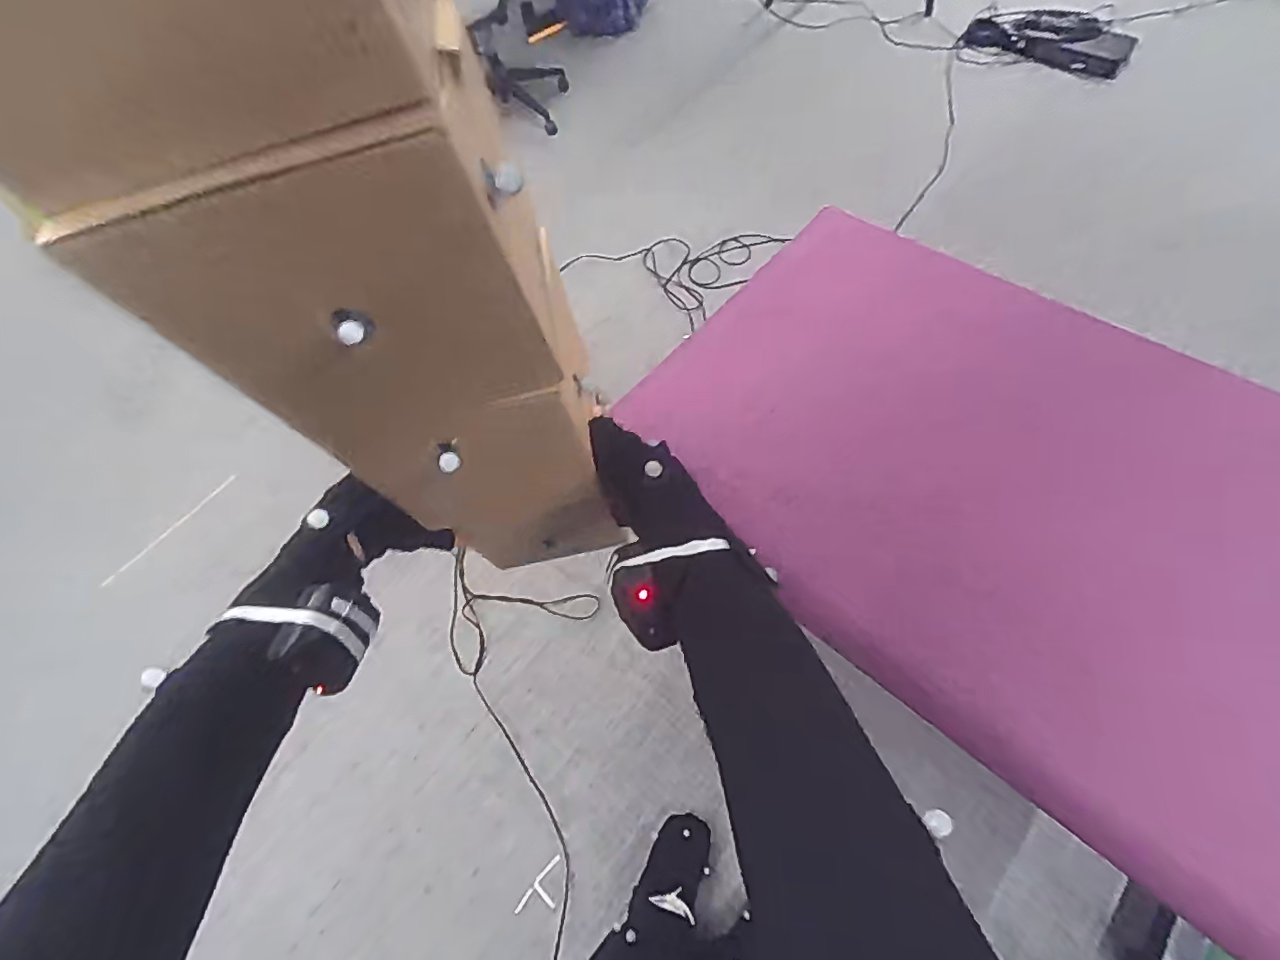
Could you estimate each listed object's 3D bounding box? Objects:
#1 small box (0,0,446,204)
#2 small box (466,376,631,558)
[{"bbox_3d":[-0.178,-0.233,0.183,0.179,0.176,0.168,-12,63,6],"label":"small box"},{"bbox_3d":[-0.110,-0.027,0.624,0.168,0.176,0.179,-10,64,4],"label":"small box"}]
